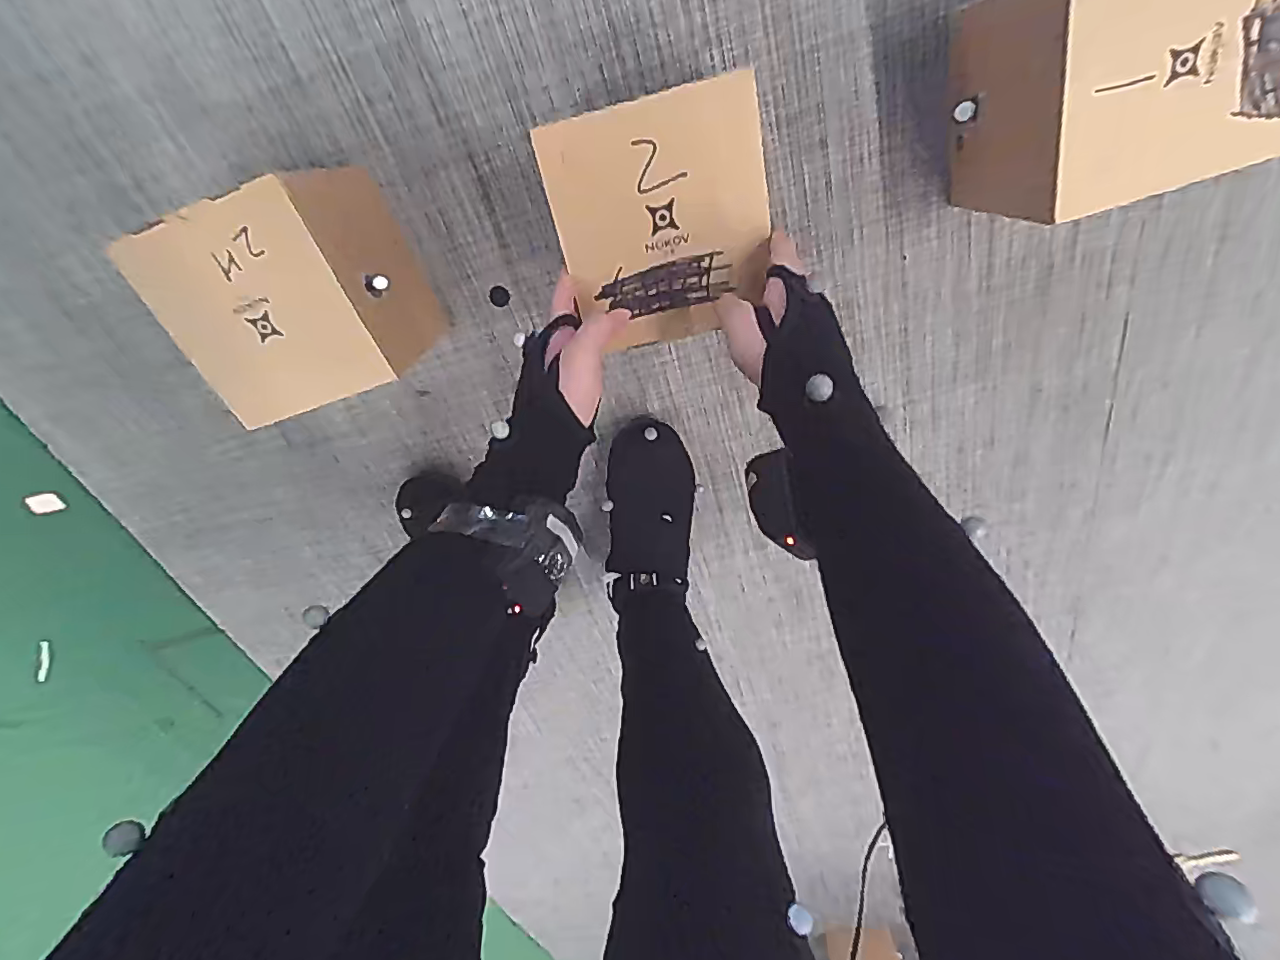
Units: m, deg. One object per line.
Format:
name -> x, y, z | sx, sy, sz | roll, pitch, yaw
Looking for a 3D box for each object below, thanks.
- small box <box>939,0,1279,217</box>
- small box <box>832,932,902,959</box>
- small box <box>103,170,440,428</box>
small box -> 0.371, -0.333, 0.435 | 0.179, 0.176, 0.168 | -15, 119, 10
small box -> 0.625, 1.351, 1.446 | 0.179, 0.176, 0.168 | -15, 120, 9
small box -> -0.326, -0.181, 0.528 | 0.168, 0.176, 0.179 | -16, 119, 9
